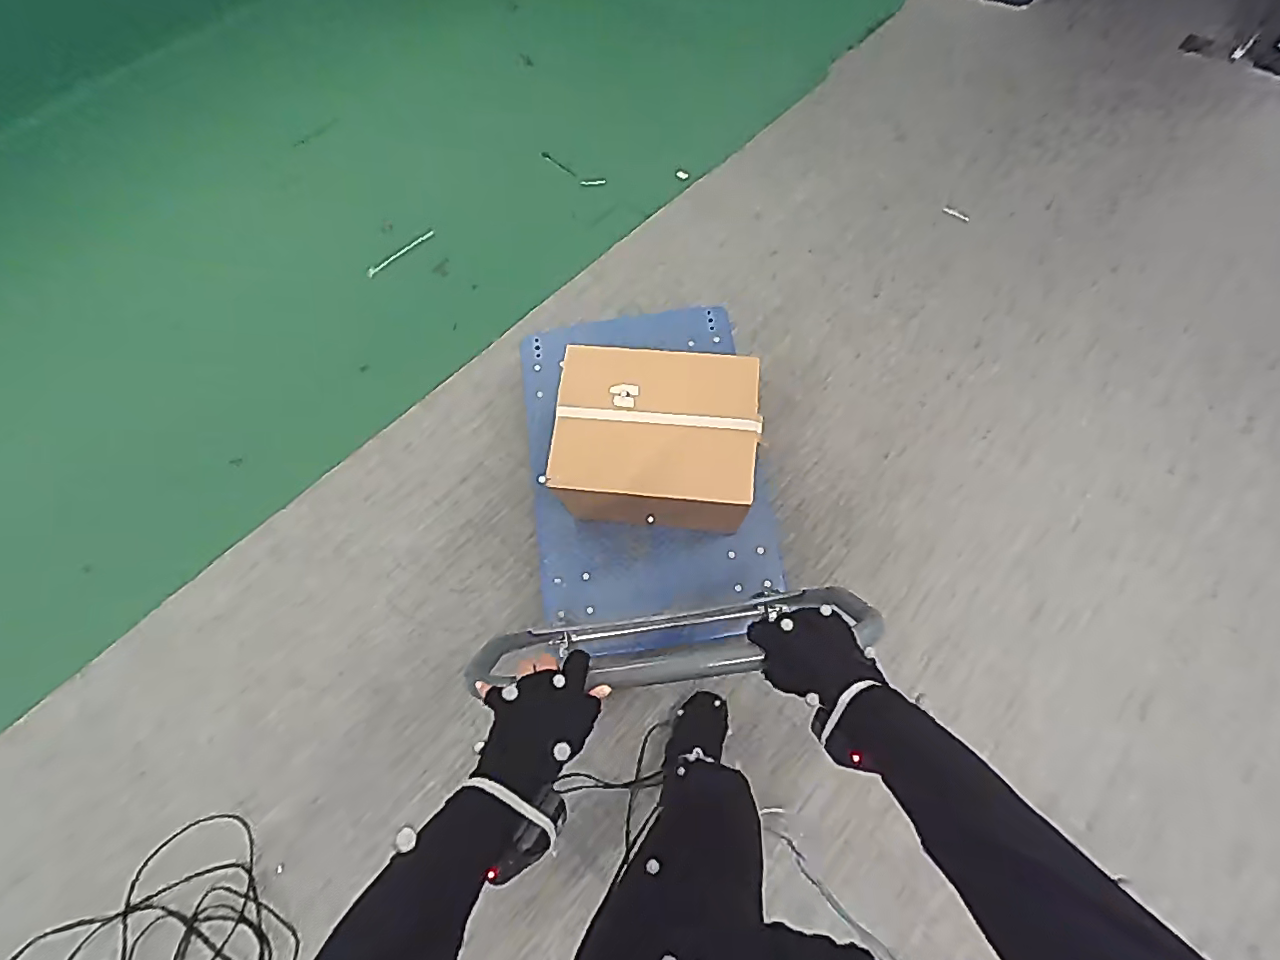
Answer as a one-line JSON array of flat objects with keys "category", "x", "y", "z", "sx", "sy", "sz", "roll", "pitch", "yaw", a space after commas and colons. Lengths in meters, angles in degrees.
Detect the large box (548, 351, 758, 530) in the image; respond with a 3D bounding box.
[{"category": "large box", "x": 0.043, "y": -0.073, "z": 1.220, "sx": 0.408, "sy": 0.320, "sz": 0.320, "roll": 5, "pitch": 74, "yaw": 6}]
